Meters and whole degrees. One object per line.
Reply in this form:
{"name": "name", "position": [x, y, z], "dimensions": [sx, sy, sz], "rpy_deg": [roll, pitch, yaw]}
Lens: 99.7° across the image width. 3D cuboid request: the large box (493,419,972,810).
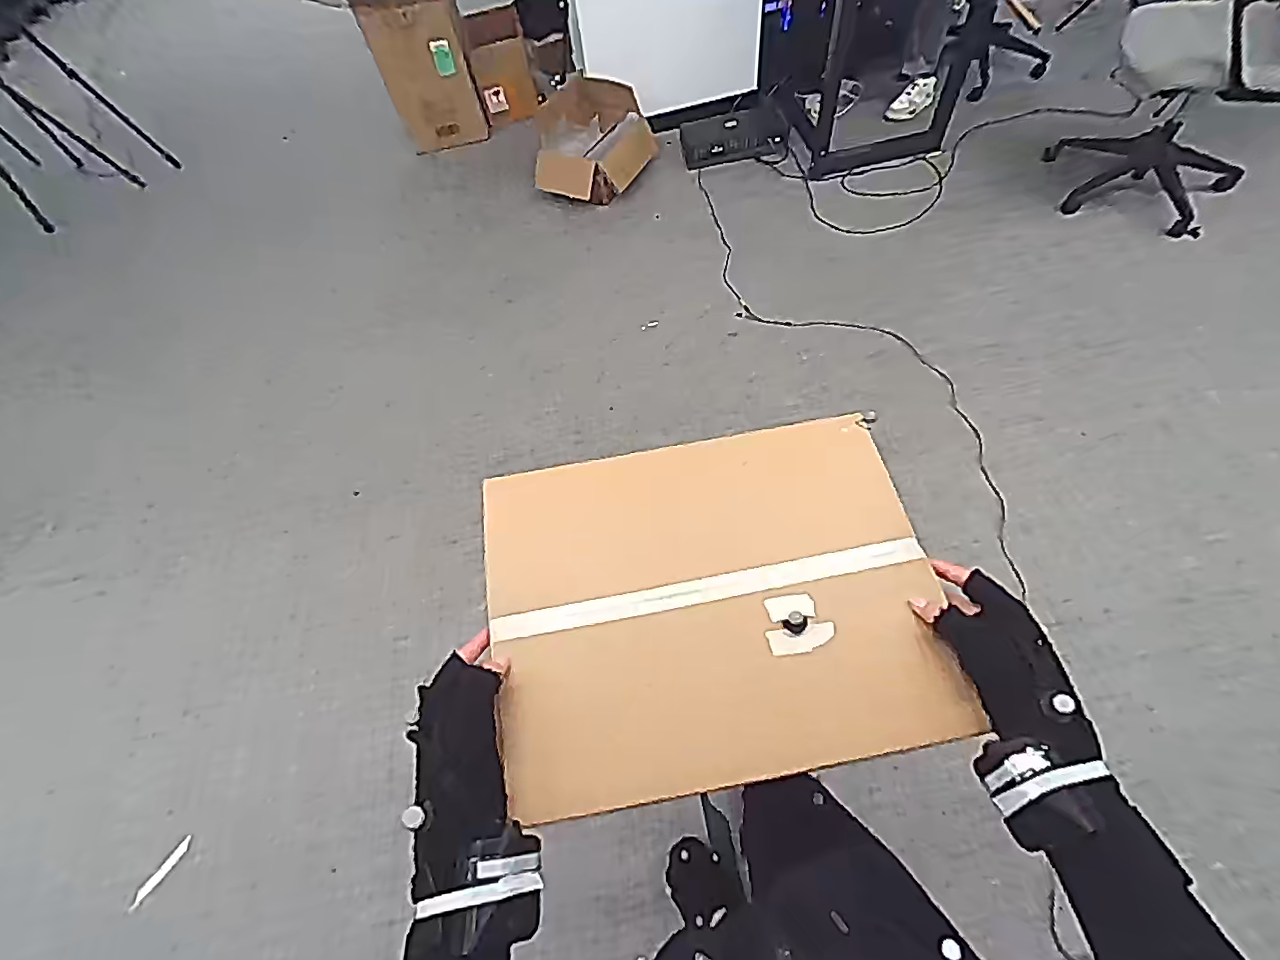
{"name": "large box", "position": [0.070, 0.170, 0.649], "dimensions": [0.408, 0.320, 0.320], "rpy_deg": [-10, 63, -2]}
